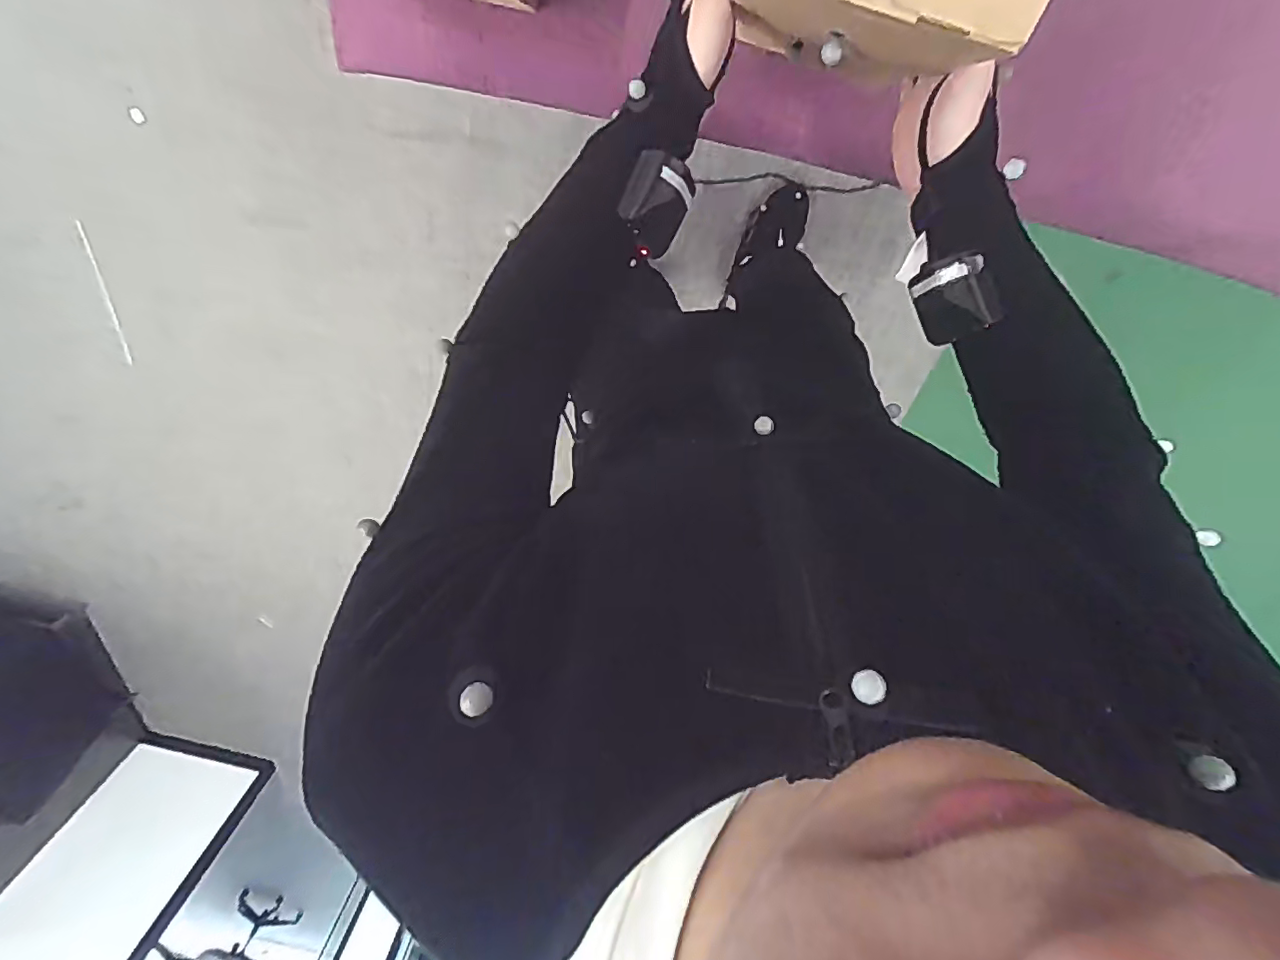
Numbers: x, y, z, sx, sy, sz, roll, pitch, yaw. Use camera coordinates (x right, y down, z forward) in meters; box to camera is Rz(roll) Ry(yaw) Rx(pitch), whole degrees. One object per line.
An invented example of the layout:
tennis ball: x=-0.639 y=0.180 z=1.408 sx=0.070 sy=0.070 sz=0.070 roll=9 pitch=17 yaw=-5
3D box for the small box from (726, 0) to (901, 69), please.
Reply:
small box: x=0.171 y=-0.462 z=0.433 sx=0.168 sy=0.176 sz=0.179 roll=16 pitch=125 yaw=-3

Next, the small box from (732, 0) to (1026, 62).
small box: x=0.147 y=-0.366 z=0.302 sx=0.168 sy=0.176 sz=0.179 roll=16 pitch=125 yaw=-2
